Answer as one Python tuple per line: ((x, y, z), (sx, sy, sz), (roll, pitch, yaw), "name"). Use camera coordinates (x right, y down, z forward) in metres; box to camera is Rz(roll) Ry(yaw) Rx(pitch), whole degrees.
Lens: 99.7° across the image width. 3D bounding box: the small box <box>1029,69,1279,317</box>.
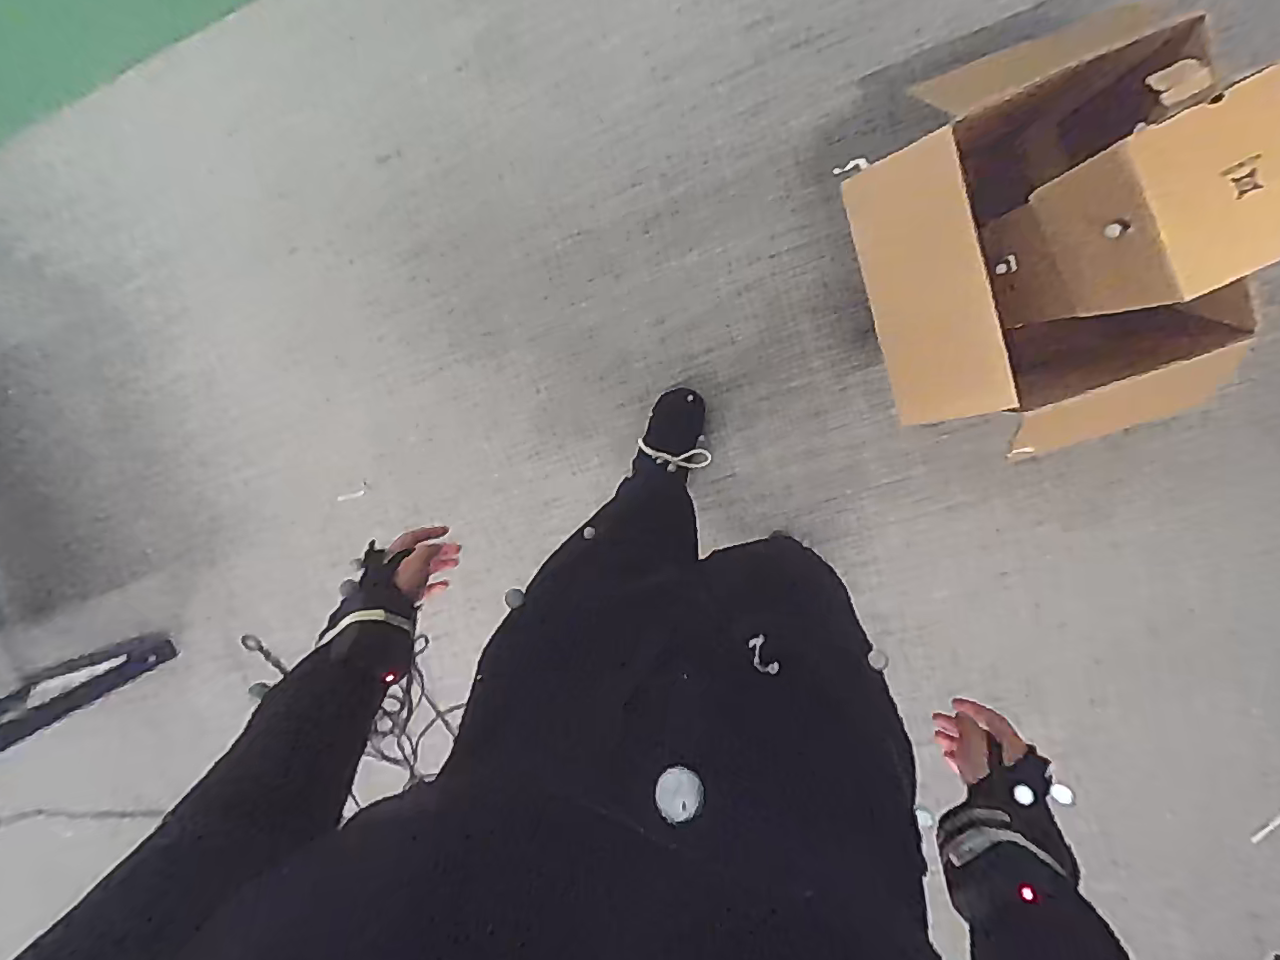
((0.594, -0.299, 0.612), (0.168, 0.176, 0.179), (-25, 95, 12), "small box")
